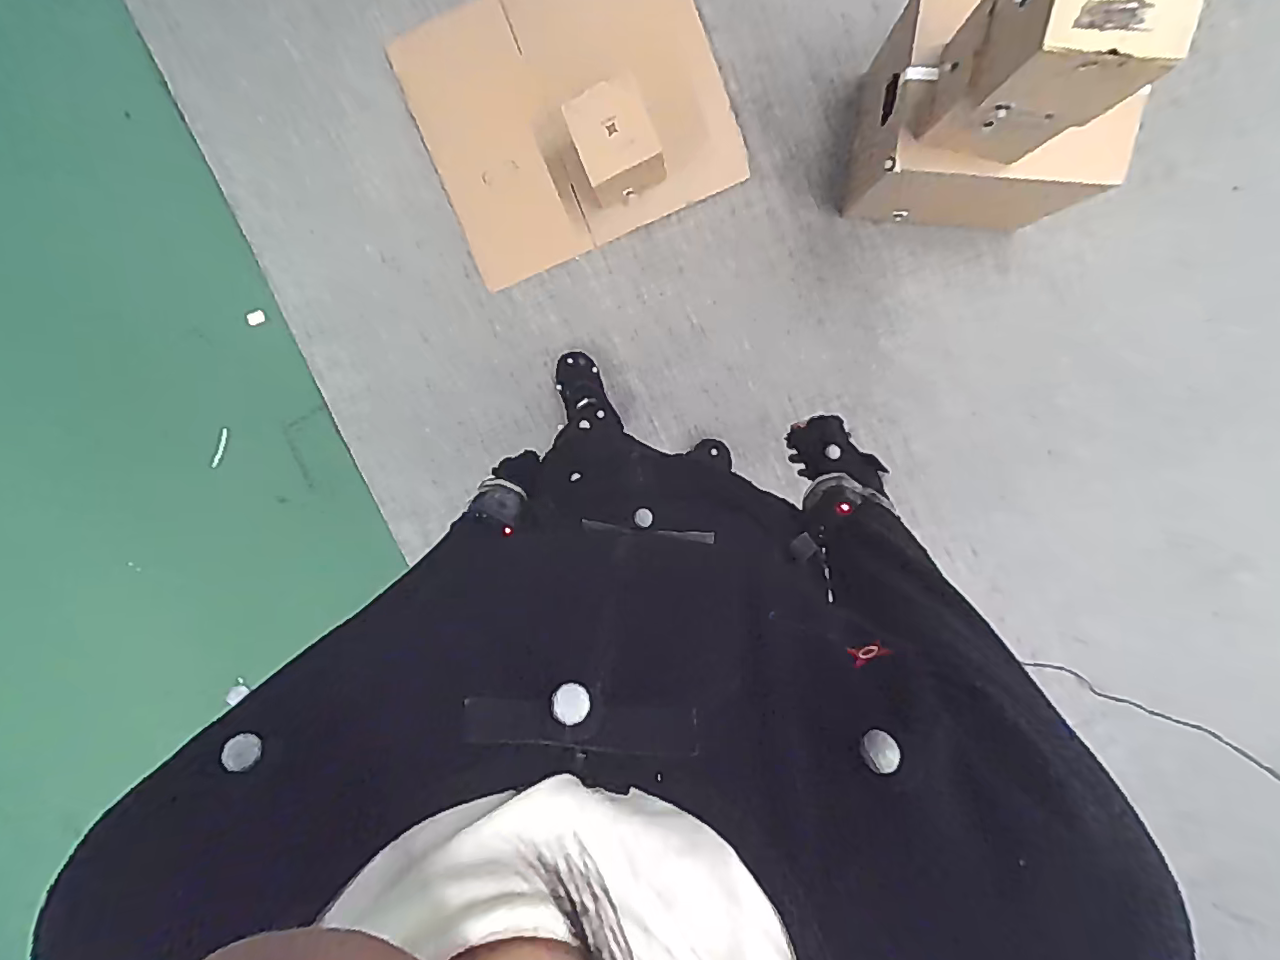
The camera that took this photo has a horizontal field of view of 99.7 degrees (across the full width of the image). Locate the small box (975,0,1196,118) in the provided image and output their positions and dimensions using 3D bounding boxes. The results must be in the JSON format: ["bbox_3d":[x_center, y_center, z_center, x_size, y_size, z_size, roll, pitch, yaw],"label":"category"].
[{"bbox_3d":[0.571,-0.603,0.703,0.168,0.176,0.179,6,103,4],"label":"small box"}]

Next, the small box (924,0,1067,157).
[{"bbox_3d":[0.589,-0.647,0.864,0.179,0.176,0.168,11,100,2],"label":"small box"}]

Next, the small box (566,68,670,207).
[{"bbox_3d":[-0.042,-0.744,1.197,0.168,0.176,0.179,-22,98,11],"label":"small box"}]
